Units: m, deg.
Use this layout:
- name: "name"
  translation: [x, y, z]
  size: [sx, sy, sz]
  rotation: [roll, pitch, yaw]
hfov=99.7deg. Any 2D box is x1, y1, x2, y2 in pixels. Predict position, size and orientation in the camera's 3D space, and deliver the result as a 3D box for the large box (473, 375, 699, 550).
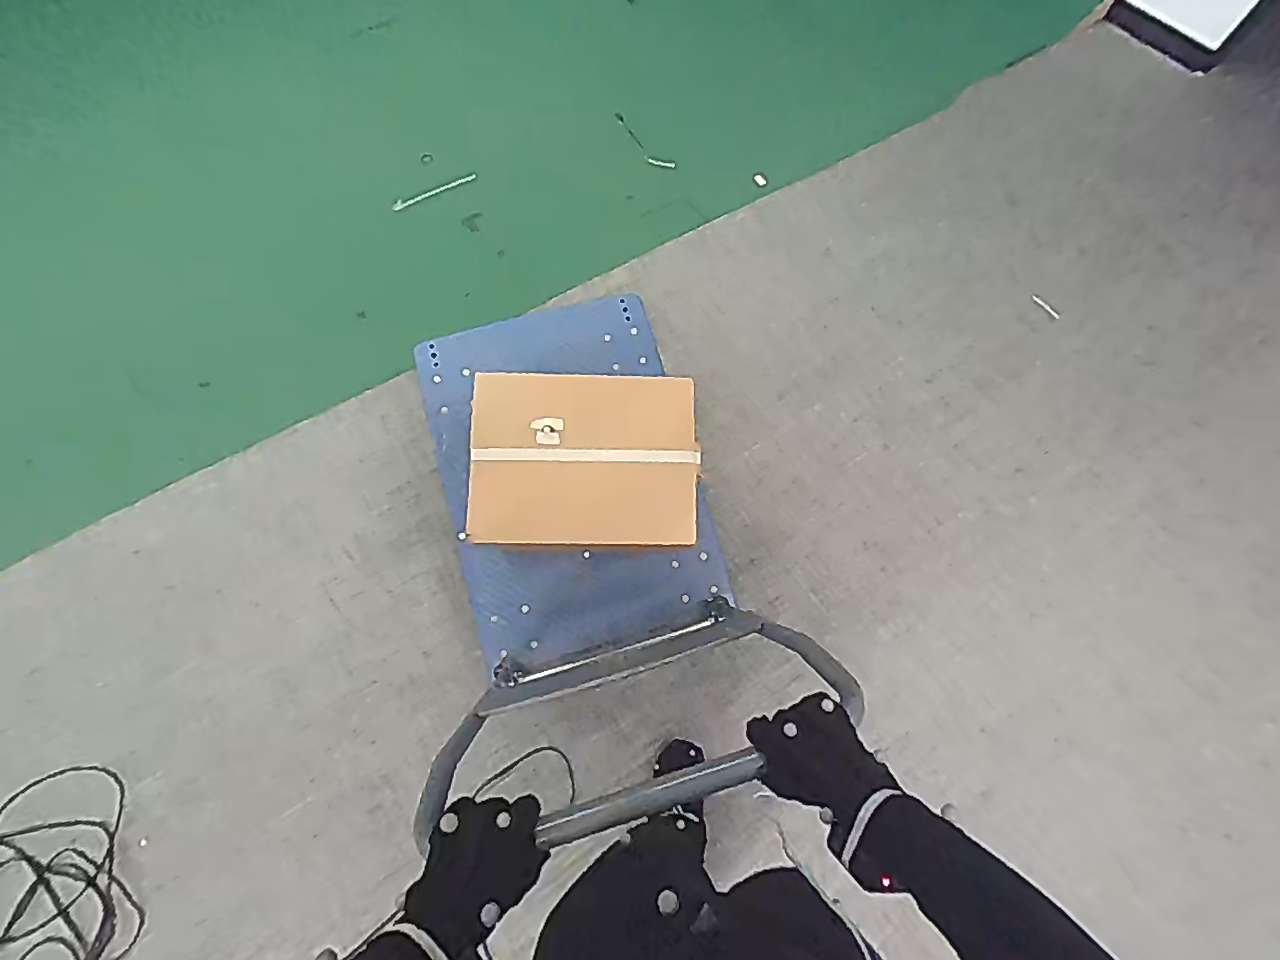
- name: "large box"
  translation: [-0.100, -0.017, 1.117]
  size: [0.408, 0.320, 0.320]
  rotation: [0, 80, -2]
